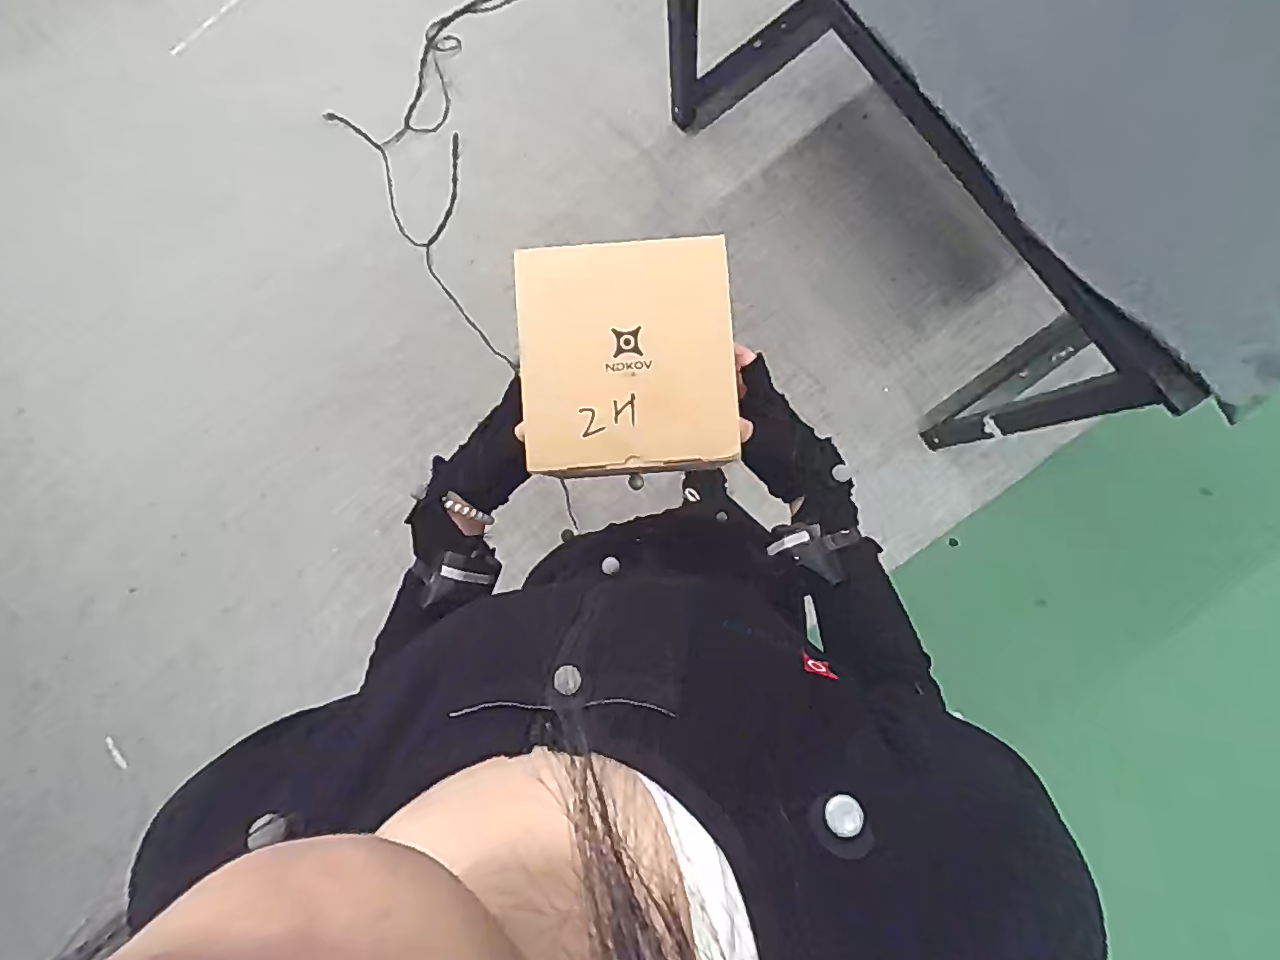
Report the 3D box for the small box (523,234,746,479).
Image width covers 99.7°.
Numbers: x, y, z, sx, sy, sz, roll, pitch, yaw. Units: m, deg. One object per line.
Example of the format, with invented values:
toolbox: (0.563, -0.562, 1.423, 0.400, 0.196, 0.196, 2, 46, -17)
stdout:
small box: (-0.005, -0.096, 0.494, 0.168, 0.176, 0.179, -4, 88, 1)
